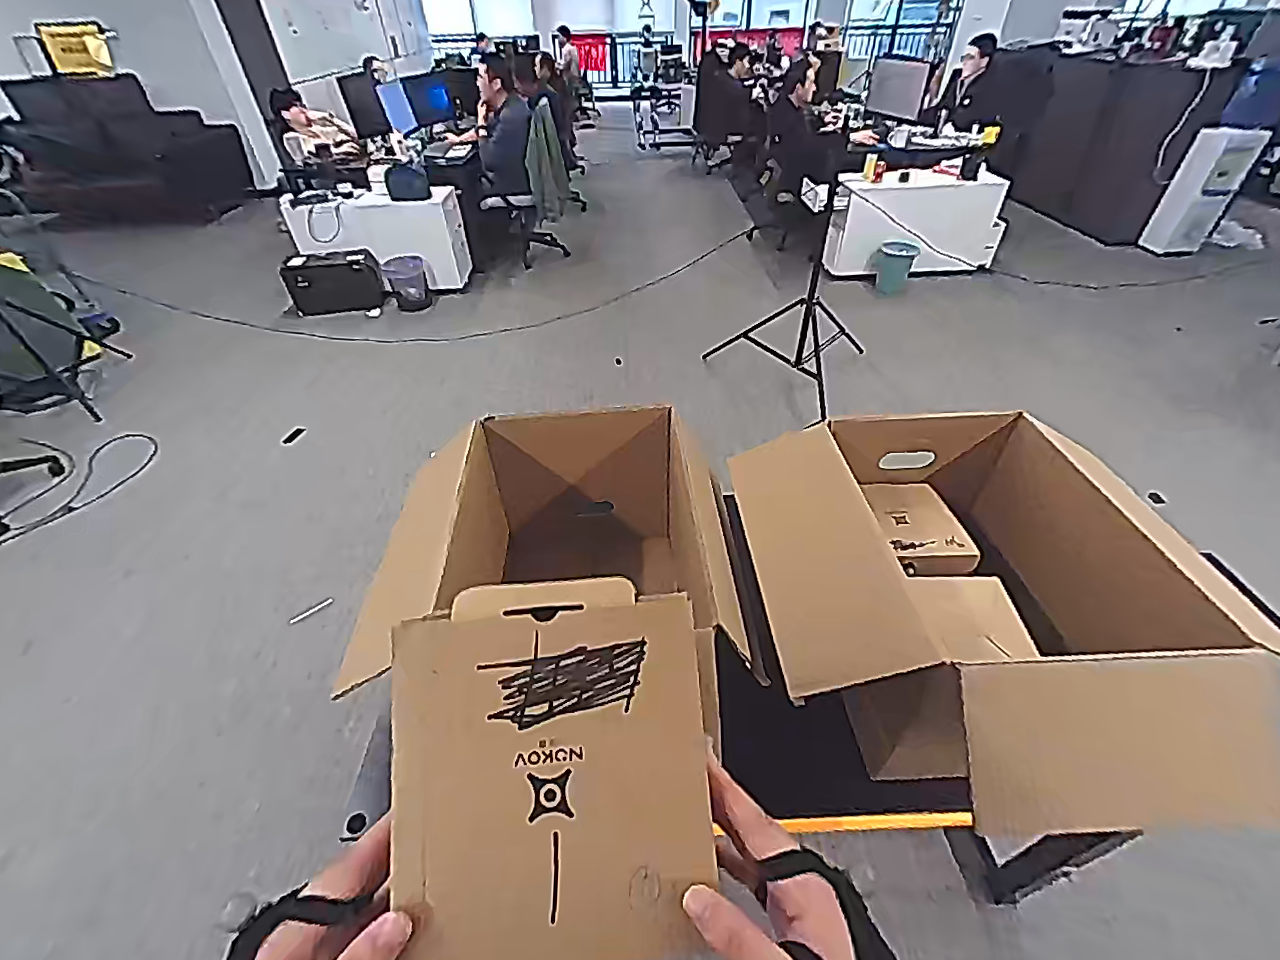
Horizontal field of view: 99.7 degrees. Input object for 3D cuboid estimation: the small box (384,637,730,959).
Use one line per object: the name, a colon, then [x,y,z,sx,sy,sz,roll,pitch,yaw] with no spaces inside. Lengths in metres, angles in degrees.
small box: [-0.046,0.197,0.346,0.168,0.176,0.179,-4,78,-4]
